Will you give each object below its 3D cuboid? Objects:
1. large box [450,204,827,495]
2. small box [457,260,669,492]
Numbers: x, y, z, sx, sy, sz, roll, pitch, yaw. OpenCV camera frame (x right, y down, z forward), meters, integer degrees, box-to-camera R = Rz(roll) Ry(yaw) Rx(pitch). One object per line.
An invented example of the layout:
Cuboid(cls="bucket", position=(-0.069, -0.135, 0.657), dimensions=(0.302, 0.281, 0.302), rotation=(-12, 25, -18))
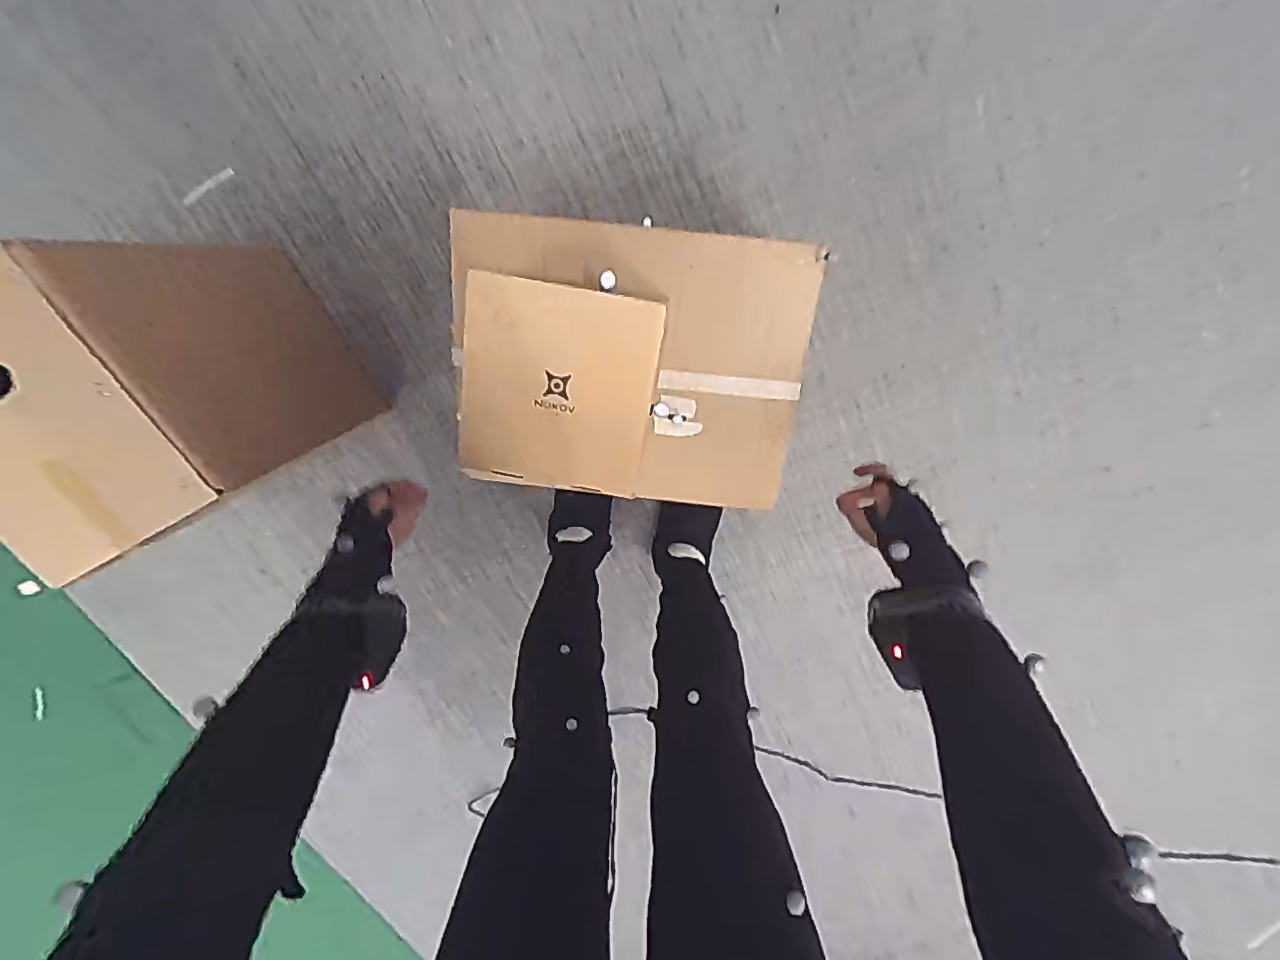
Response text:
Cuboid(cls="large box", position=(-0.006, -0.190, 0.758), dimensions=(0.408, 0.320, 0.320), rotation=(5, 113, 1))
Cuboid(cls="small box", position=(-0.067, -0.110, 0.532), dimensions=(0.168, 0.176, 0.179), rotation=(10, 112, 0))
